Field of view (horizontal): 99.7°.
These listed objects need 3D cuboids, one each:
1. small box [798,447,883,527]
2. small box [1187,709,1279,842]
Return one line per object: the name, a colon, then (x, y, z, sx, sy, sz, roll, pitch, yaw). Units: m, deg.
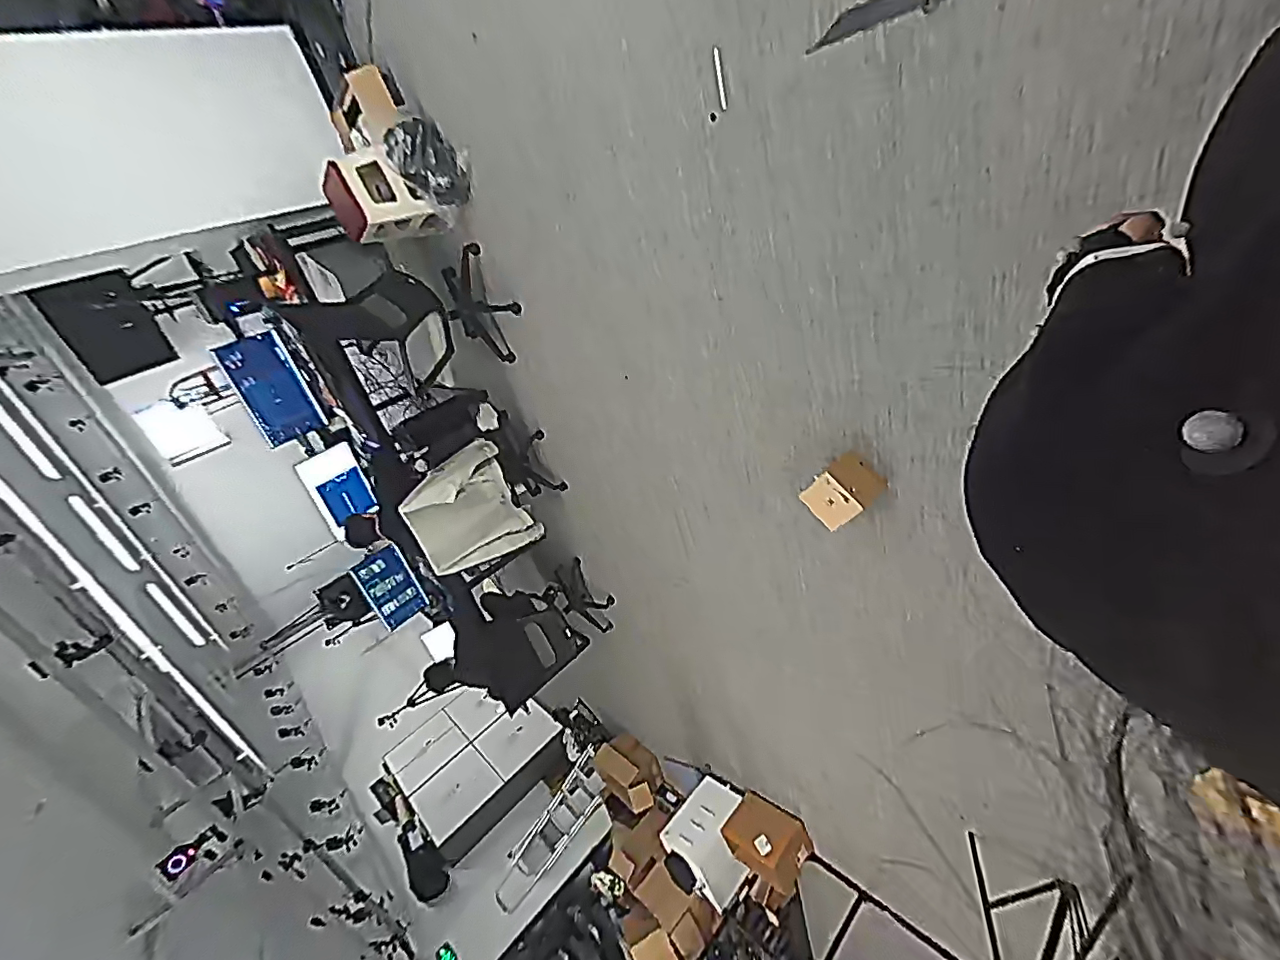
small box: (0.676, 0.024, 1.813, 0.168, 0.176, 0.179, 48, 148, 11)
small box: (1.358, 0.653, 1.206, 0.168, 0.176, 0.179, 12, 129, 48)
